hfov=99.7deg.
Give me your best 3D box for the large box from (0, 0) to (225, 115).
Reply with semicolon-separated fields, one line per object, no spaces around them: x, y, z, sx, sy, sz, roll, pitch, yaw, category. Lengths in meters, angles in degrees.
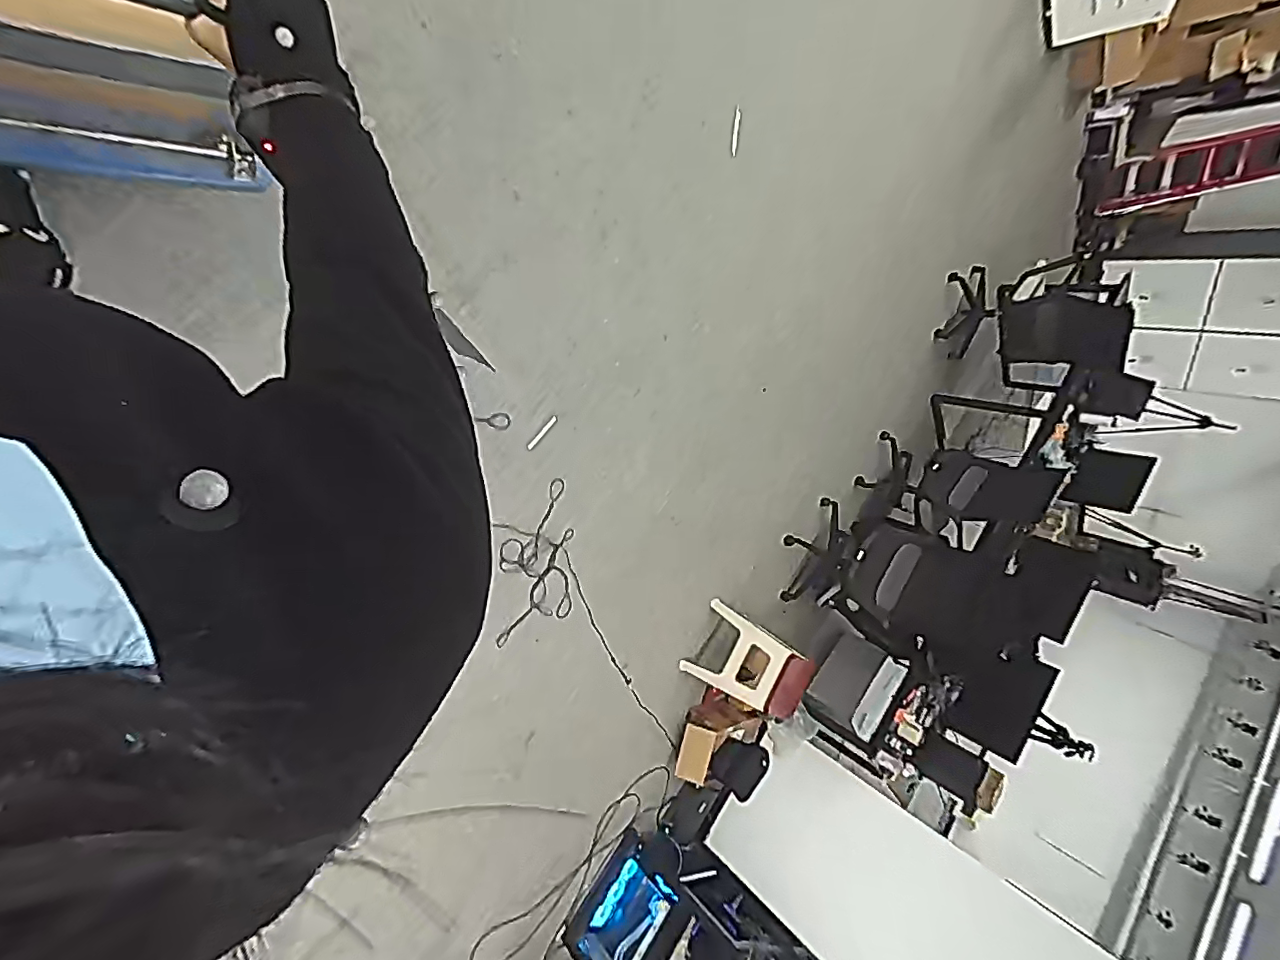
-0.803;-0.691;0.654;0.408;0.320;0.320;-15;116;-41;large box
